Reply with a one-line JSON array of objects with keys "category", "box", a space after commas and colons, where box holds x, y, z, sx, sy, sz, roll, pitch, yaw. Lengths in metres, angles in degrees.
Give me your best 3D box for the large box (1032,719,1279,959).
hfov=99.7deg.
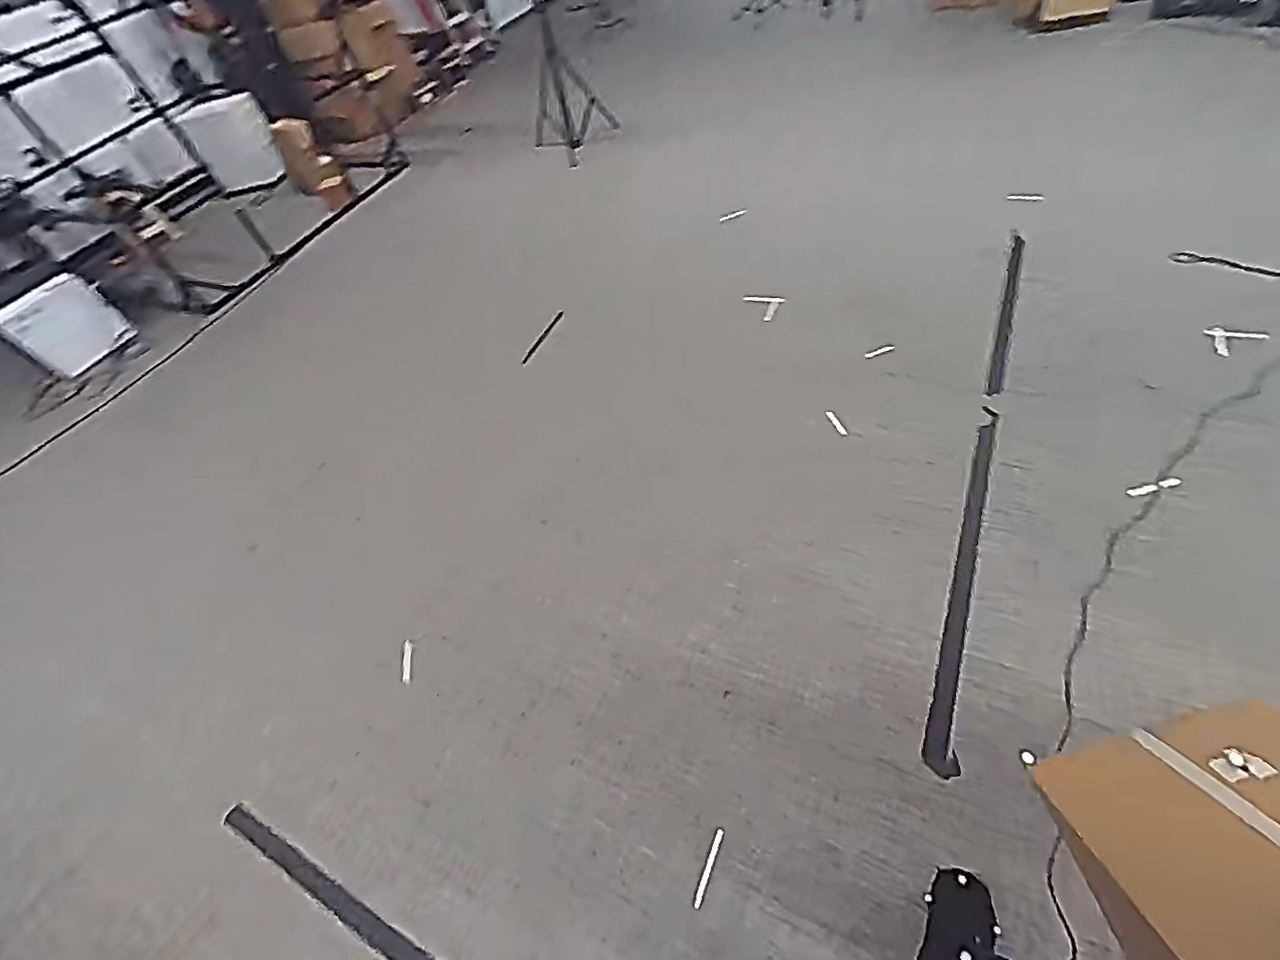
[{"category": "large box", "box": [0.738, 0.526, 0.580, 0.320, 0.408, 0.320, -24, 82, 14]}]
